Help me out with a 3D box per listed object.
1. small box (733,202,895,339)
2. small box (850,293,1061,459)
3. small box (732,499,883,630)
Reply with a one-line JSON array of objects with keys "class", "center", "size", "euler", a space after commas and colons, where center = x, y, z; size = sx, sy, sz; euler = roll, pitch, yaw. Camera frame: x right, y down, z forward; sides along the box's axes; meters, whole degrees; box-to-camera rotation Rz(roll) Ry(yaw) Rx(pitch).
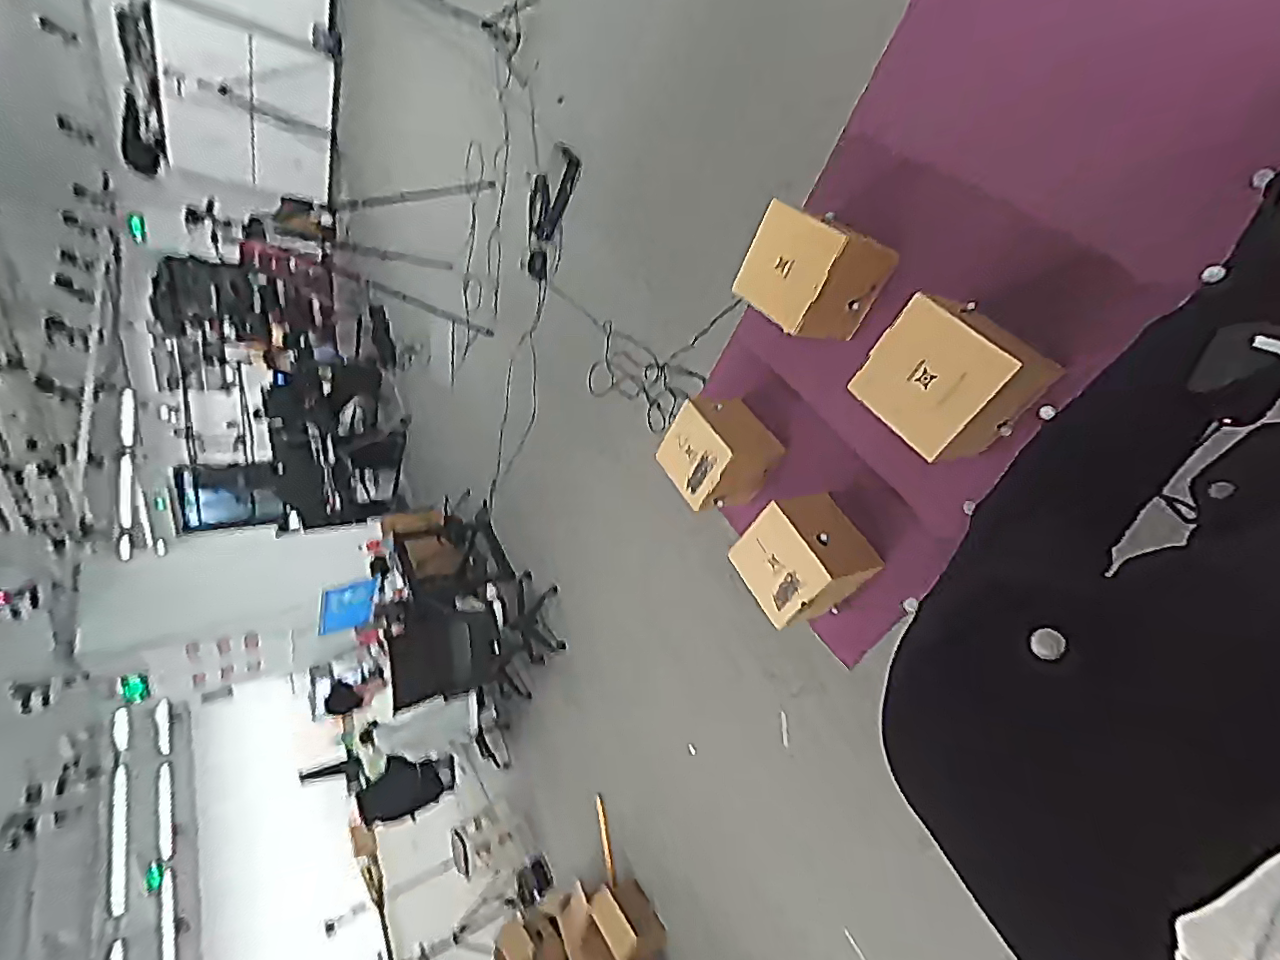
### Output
[{"class": "small box", "center": [0.307, -0.364, 0.962], "size": [0.179, 0.176, 0.168], "euler": [50, 130, 34]}, {"class": "small box", "center": [0.460, -0.148, 0.797], "size": [0.179, 0.176, 0.168], "euler": [56, 135, 32]}, {"class": "small box", "center": [0.315, 0.151, 1.020], "size": [0.179, 0.176, 0.168], "euler": [58, 135, 31]}]
